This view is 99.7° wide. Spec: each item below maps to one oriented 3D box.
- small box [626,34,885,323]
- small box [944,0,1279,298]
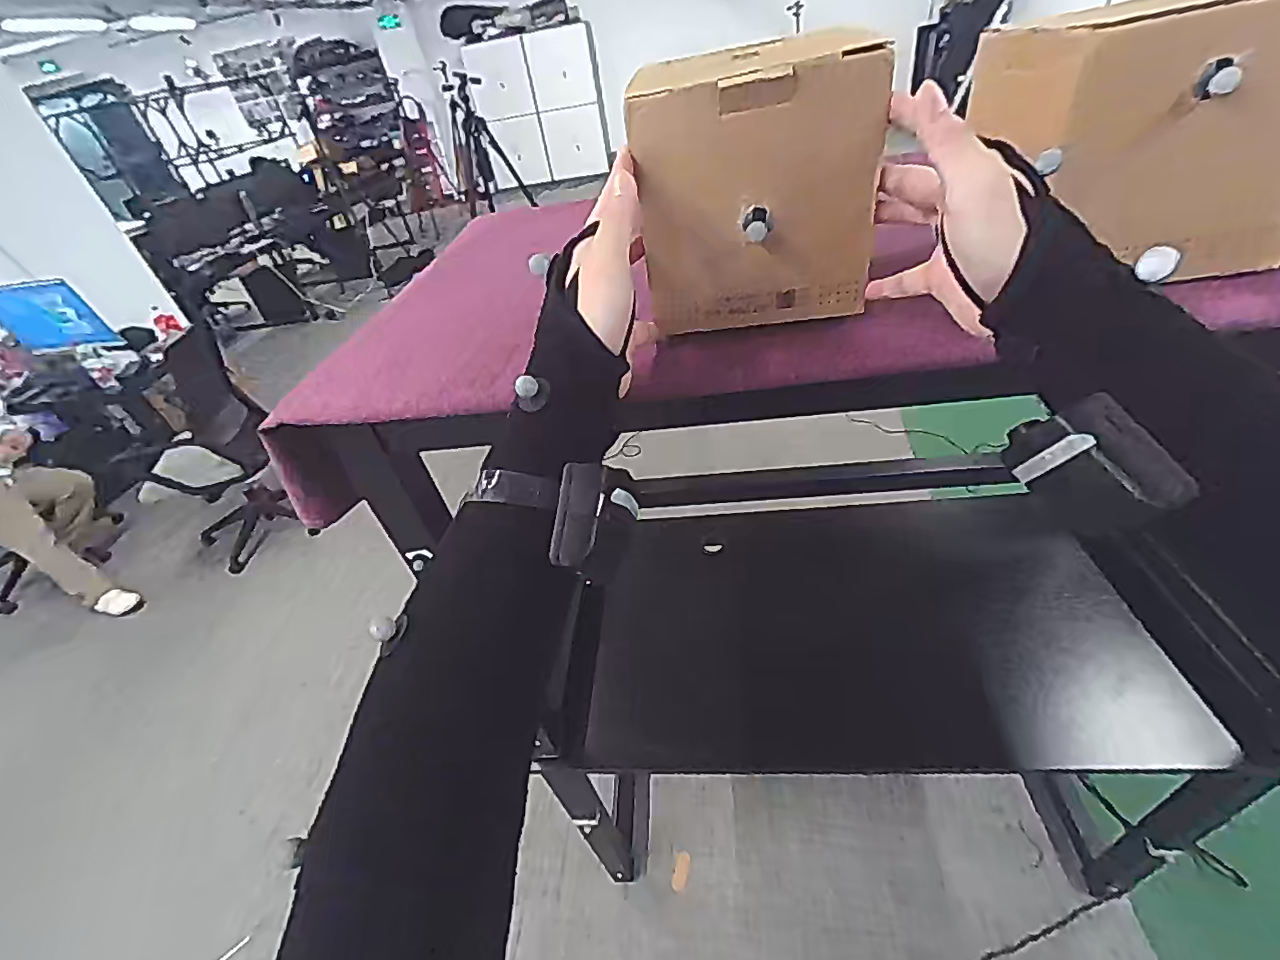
[{"bbox_3d":[0.090,-0.243,0.452,0.168,0.176,0.179,-4,42,9],"label":"small box"},{"bbox_3d":[0.369,-0.260,0.425,0.179,0.176,0.168,-5,38,10],"label":"small box"}]
